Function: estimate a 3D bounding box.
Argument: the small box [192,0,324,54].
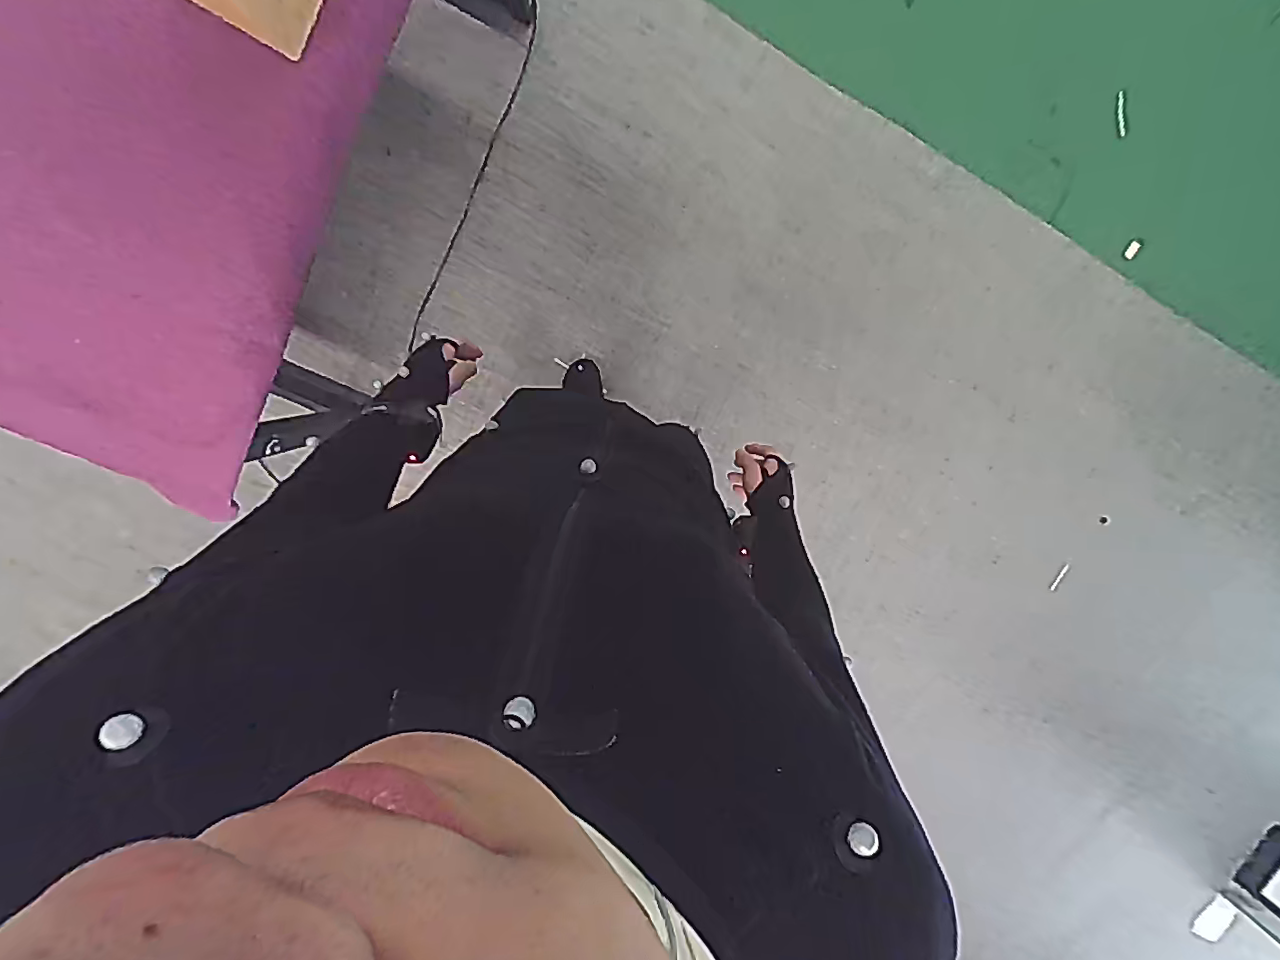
[{"bbox_3d":[-0.495,-0.661,0.641,0.179,0.176,0.168,28,99,-8],"label":"small box"}]
